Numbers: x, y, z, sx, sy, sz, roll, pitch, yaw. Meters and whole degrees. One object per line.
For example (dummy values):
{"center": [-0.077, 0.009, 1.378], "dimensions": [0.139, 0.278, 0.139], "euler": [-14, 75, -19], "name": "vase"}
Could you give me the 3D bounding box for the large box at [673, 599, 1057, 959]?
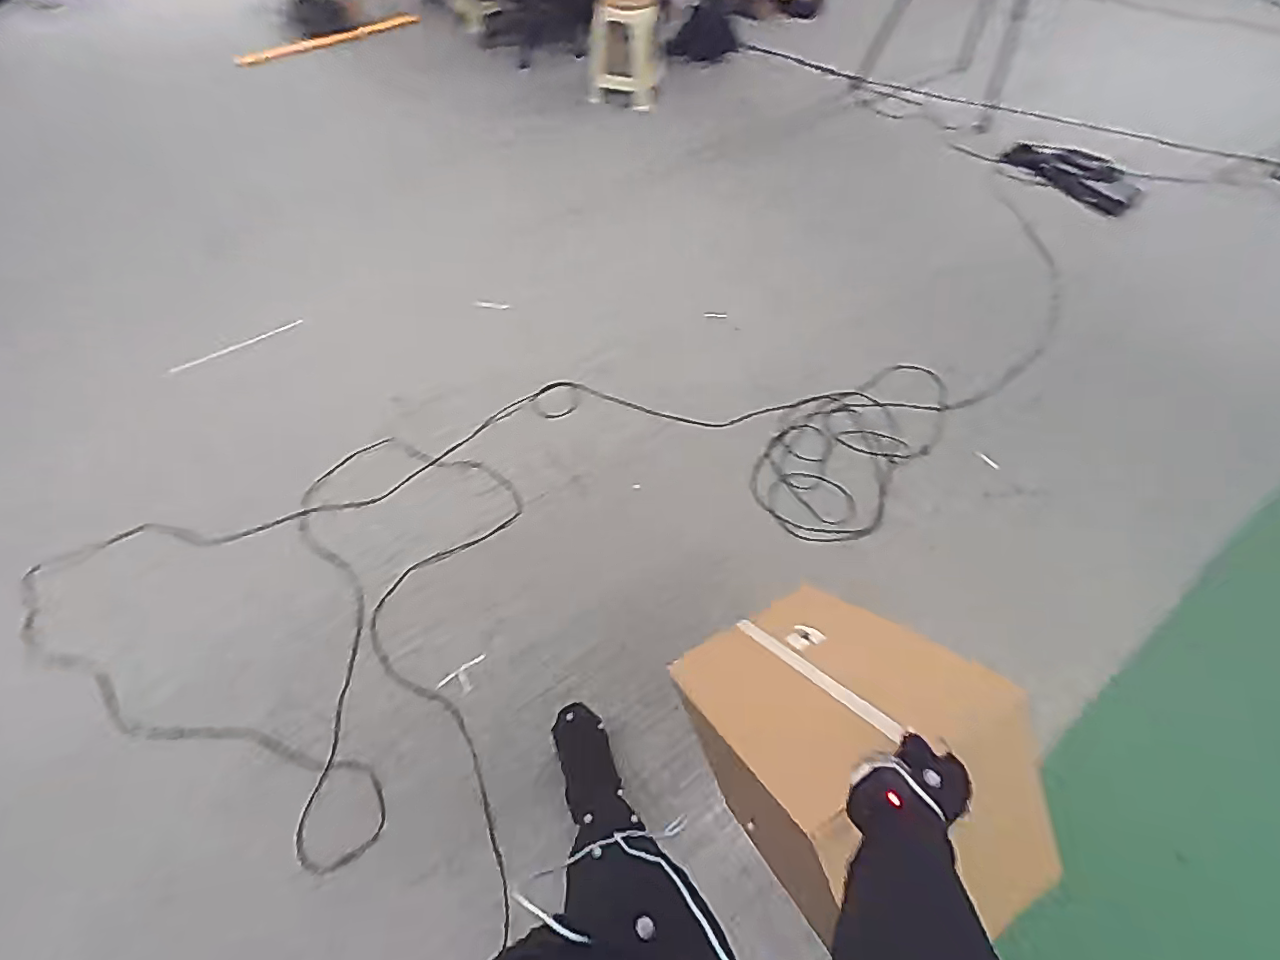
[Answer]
{"center": [0.310, 0.439, 0.833], "dimensions": [0.320, 0.408, 0.320], "euler": [-25, 102, -15], "name": "large box"}
